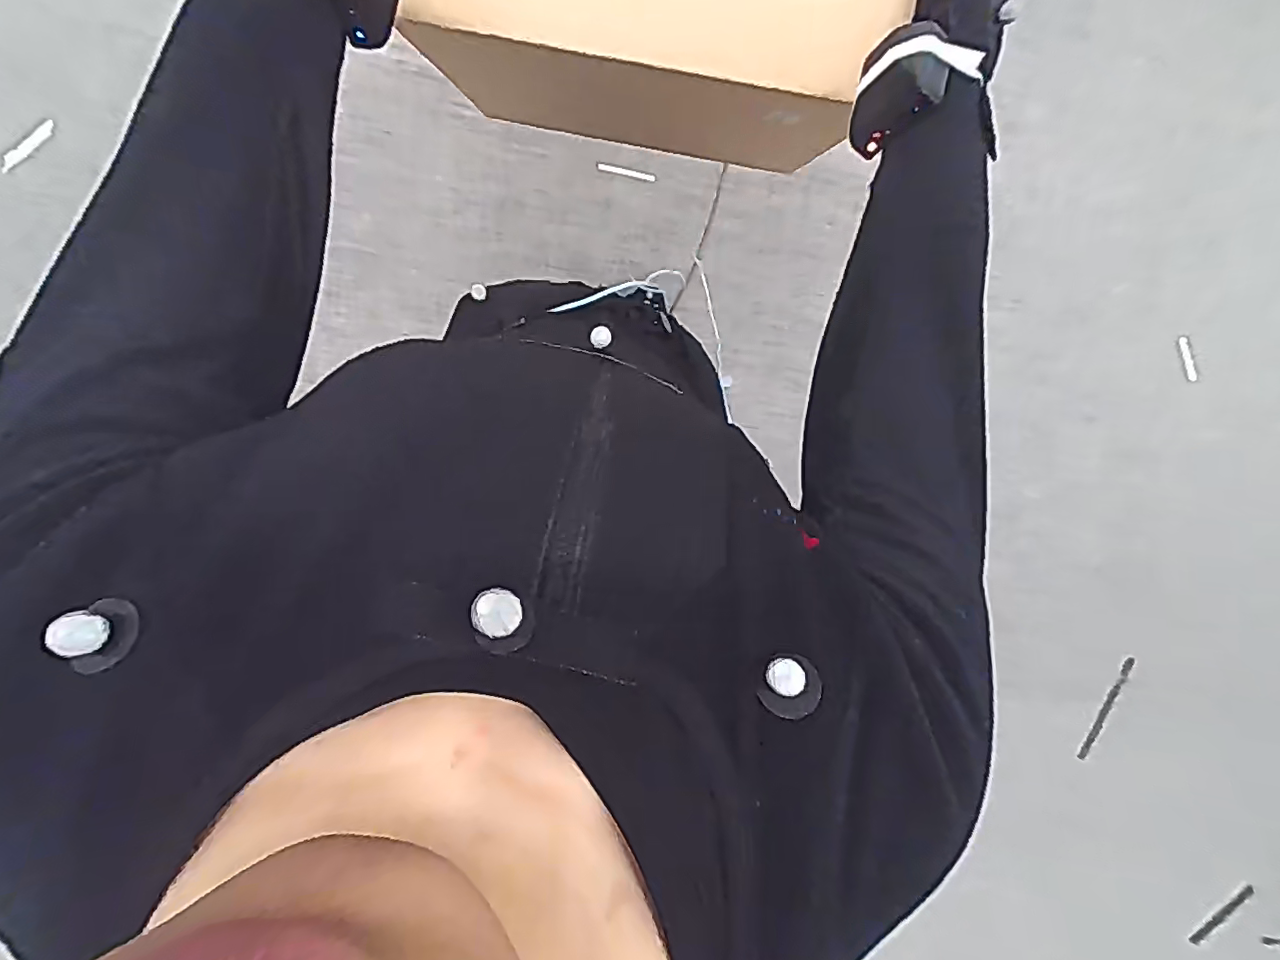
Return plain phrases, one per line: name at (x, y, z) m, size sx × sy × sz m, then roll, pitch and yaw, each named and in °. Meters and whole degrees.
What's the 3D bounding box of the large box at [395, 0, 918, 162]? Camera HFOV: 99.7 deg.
large box at (0.028, -0.526, 0.504) m, size 0.408 × 0.320 × 0.320 m, roll 9°, pitch 113°, yaw -3°
